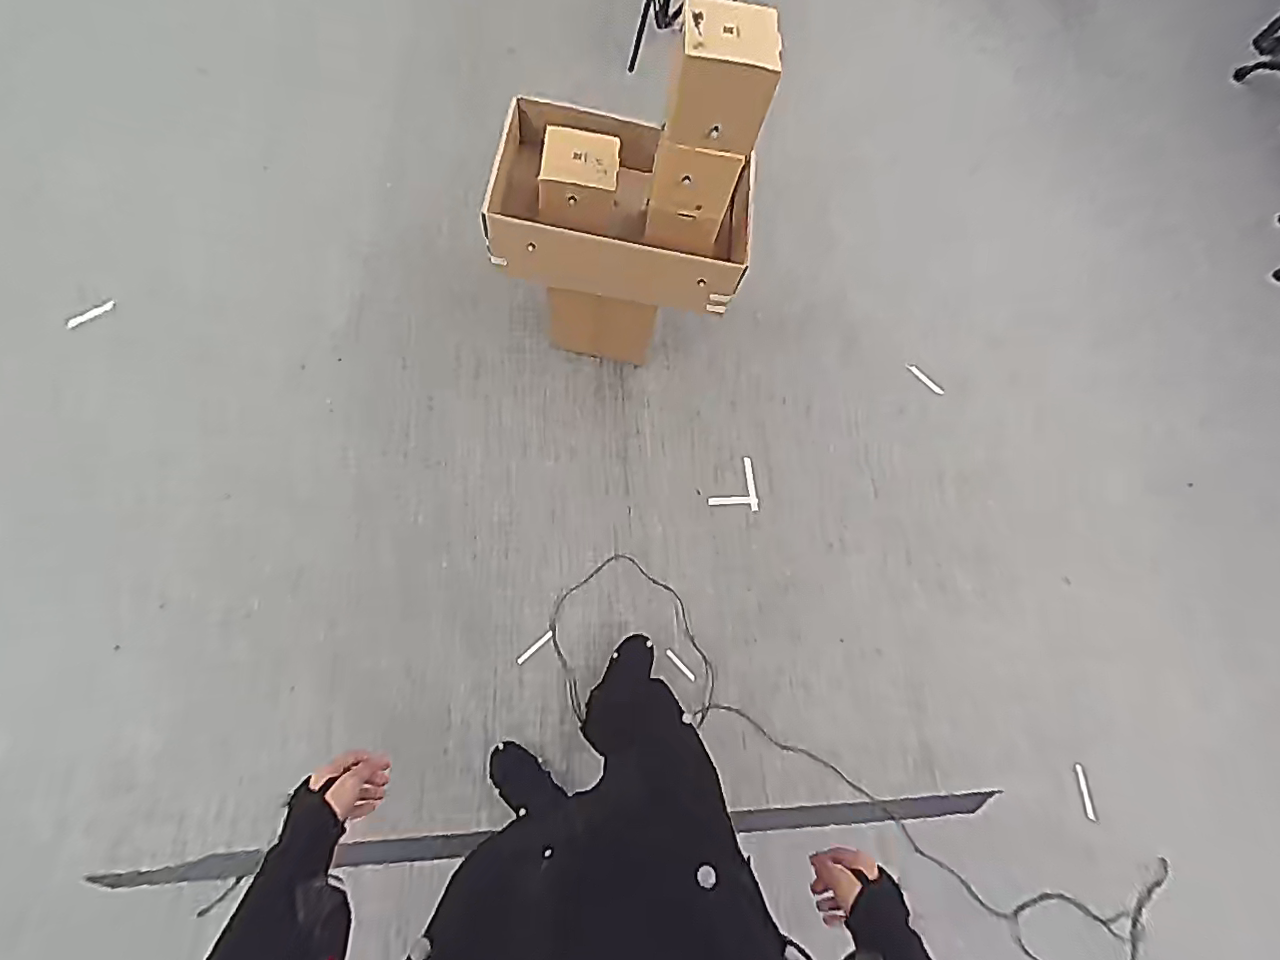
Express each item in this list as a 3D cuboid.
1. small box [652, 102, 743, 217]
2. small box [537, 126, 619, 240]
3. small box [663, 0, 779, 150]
[{"bbox_3d":[0.122,-0.710,1.179,0.168,0.176,0.179,7,70,-6],"label":"small box"},{"bbox_3d":[-0.151,-0.712,1.311,0.179,0.176,0.168,6,71,-7],"label":"small box"},{"bbox_3d":[0.148,-0.767,1.028,0.179,0.176,0.168,5,69,-7],"label":"small box"}]
